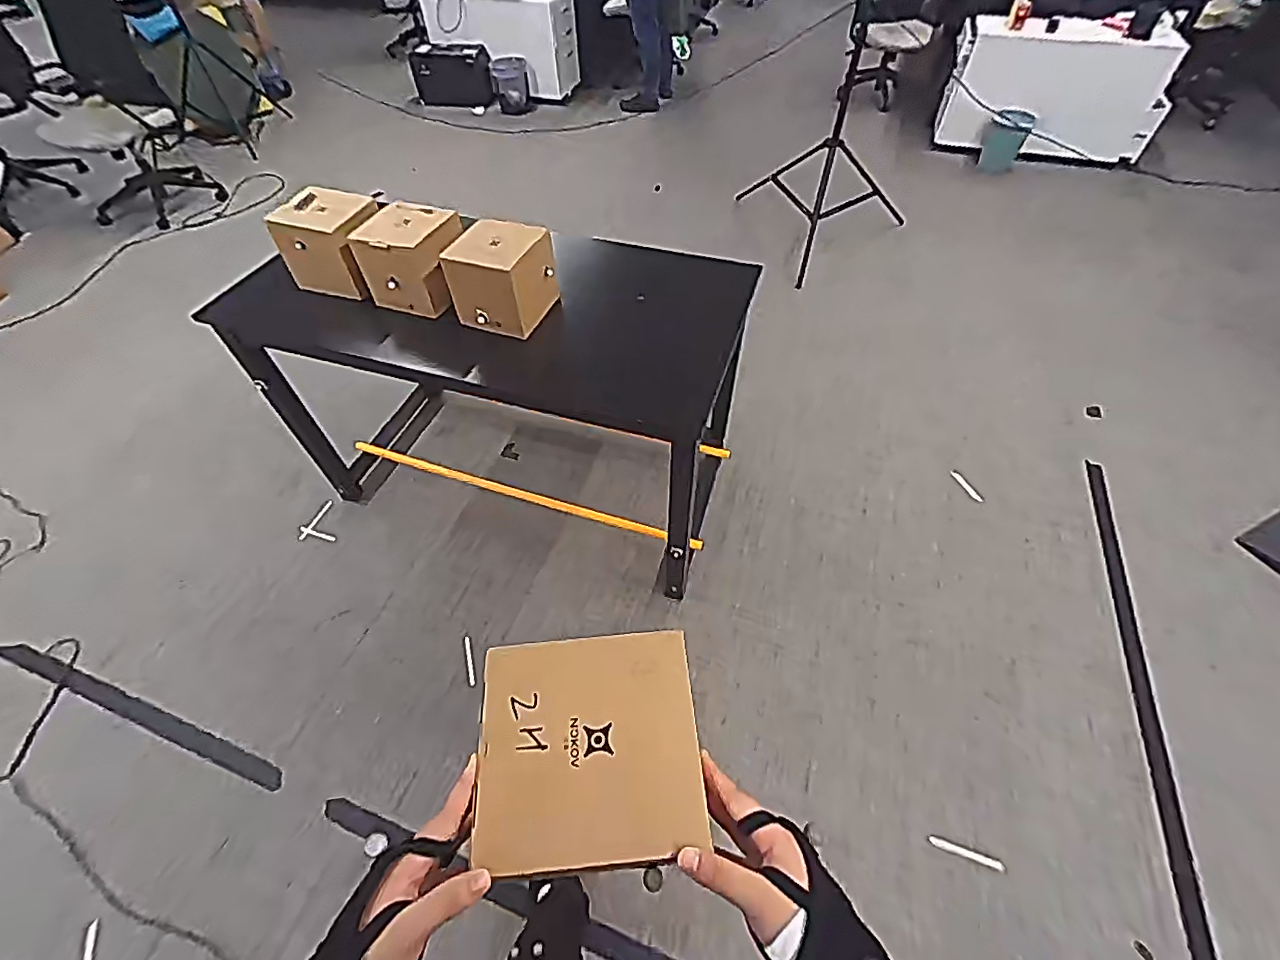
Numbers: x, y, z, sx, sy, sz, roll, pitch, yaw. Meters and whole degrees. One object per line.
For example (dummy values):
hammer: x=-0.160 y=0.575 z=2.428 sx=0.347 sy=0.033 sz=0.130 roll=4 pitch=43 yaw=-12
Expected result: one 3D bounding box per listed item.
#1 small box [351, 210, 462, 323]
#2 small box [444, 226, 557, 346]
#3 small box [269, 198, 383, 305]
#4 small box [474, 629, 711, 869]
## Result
small box: x=-0.505 y=-0.484 z=1.234 sx=0.168 sy=0.176 sz=0.179 roll=15 pitch=54 yaw=12
small box: x=-0.293 y=-0.425 z=1.186 sx=0.168 sy=0.176 sz=0.179 roll=15 pitch=54 yaw=14
small box: x=-0.709 y=-0.538 z=1.278 sx=0.179 sy=0.176 sz=0.168 roll=13 pitch=53 yaw=10
small box: x=-0.038 y=0.253 z=0.503 sx=0.179 sy=0.176 sz=0.168 roll=-5 pitch=53 yaw=-1
